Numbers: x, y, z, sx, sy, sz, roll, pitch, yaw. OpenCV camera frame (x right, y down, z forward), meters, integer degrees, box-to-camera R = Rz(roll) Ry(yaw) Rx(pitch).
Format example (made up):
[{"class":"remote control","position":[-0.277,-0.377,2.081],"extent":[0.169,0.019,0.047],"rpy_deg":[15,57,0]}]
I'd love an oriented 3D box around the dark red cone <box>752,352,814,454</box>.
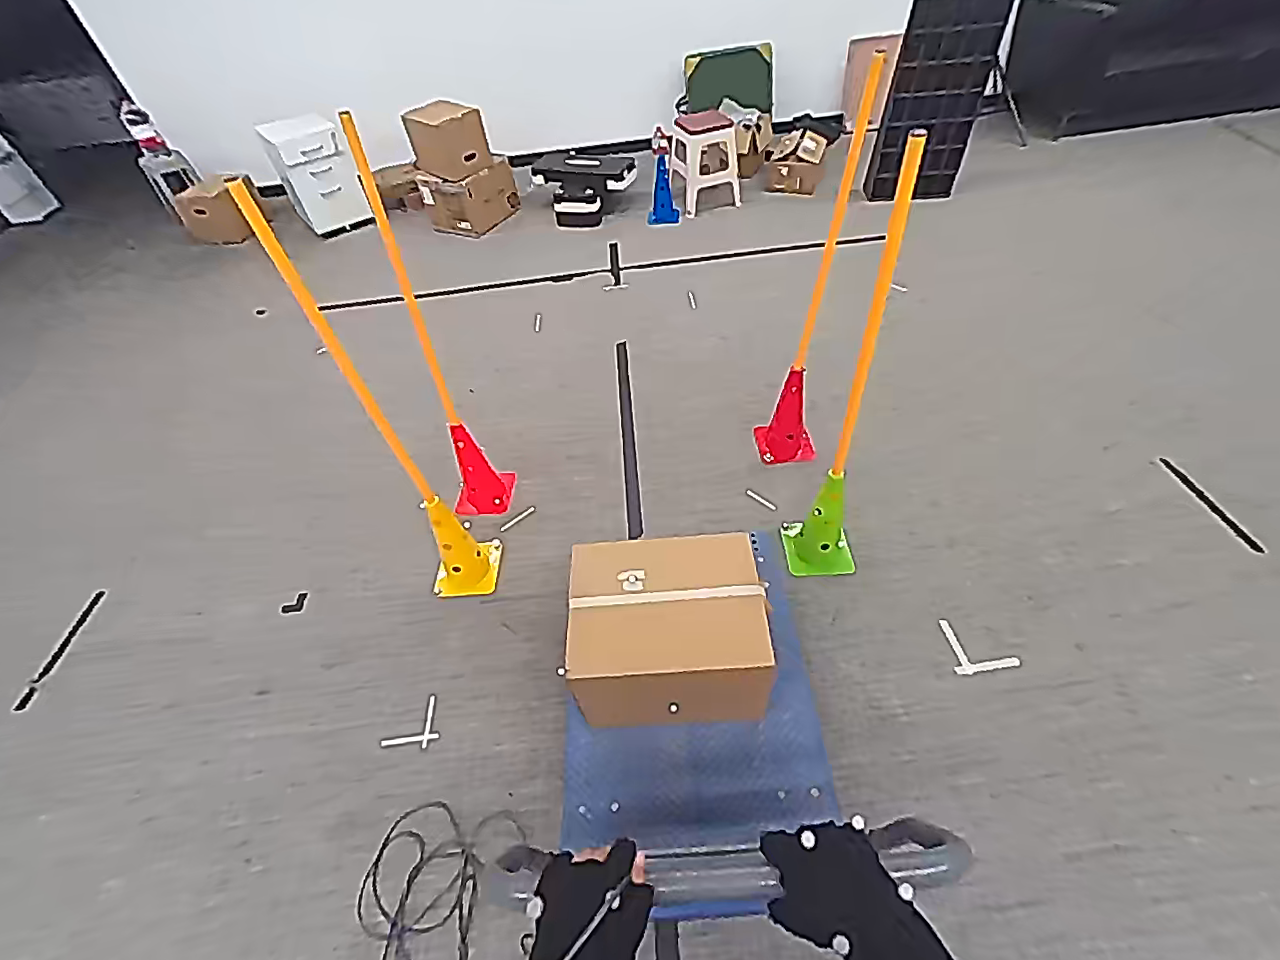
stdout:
[{"class":"dark red cone","position":[0.528,-0.278,1.920],"extent":[0.201,0.394,0.202],"rpy_deg":[-5,48,-1]}]

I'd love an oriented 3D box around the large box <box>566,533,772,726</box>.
[{"class":"large box","position":[0.064,0.350,1.242],"extent":[0.408,0.320,0.320],"rpy_deg":[-5,48,3]}]

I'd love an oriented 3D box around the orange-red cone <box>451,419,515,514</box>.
[{"class":"orange-red cone","position":[-0.586,-0.069,1.885],"extent":[0.198,0.360,0.199],"rpy_deg":[0,47,5]}]

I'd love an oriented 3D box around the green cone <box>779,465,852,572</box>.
[{"class":"green cone","position":[0.549,0.094,1.609],"extent":[0.202,0.368,0.200],"rpy_deg":[-3,48,2]}]
